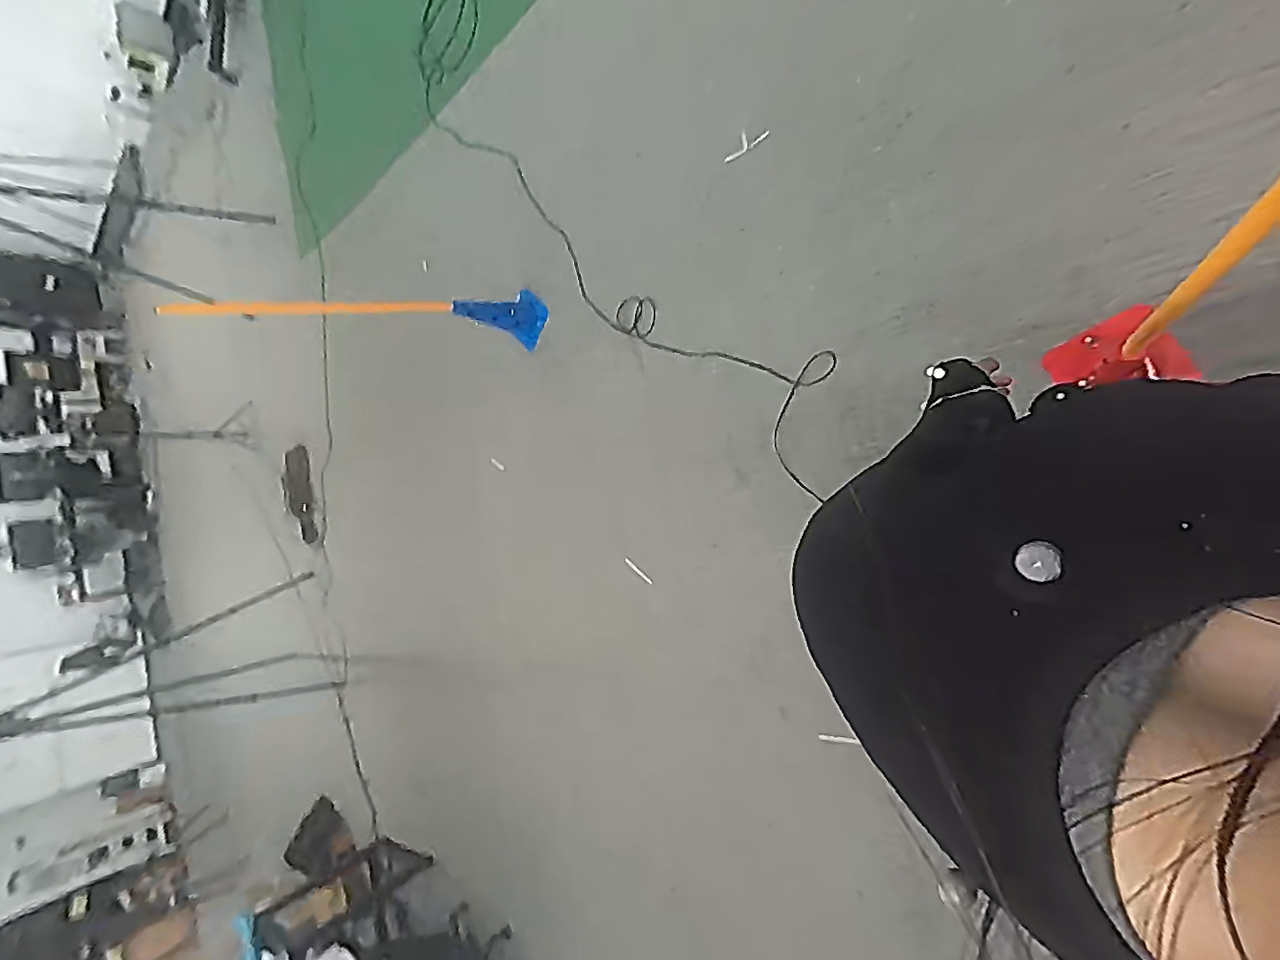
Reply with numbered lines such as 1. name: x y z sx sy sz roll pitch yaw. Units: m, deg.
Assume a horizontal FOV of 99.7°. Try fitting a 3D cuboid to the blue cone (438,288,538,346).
1. blue cone: -0.596 -0.645 2.078 0.192 0.380 0.193 43 120 25
